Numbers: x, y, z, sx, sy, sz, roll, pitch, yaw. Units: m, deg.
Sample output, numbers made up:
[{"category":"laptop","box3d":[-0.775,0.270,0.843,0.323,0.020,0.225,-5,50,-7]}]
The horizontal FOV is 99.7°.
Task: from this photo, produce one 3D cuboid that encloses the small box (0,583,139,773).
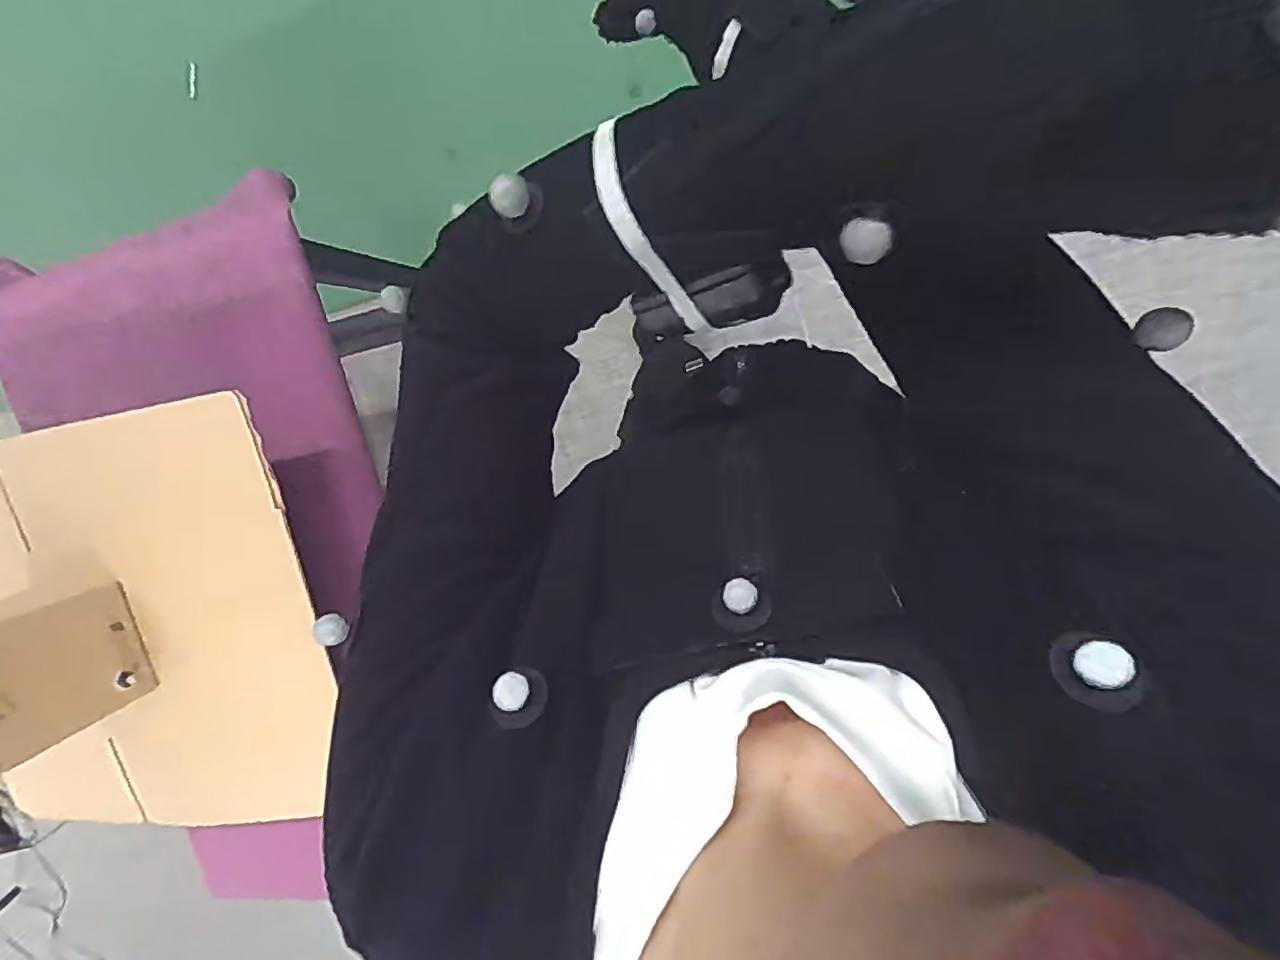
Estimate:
[{"category":"small box","box3d":[-0.787,0.243,0.677,0.179,0.176,0.168,-11,101,13]}]
